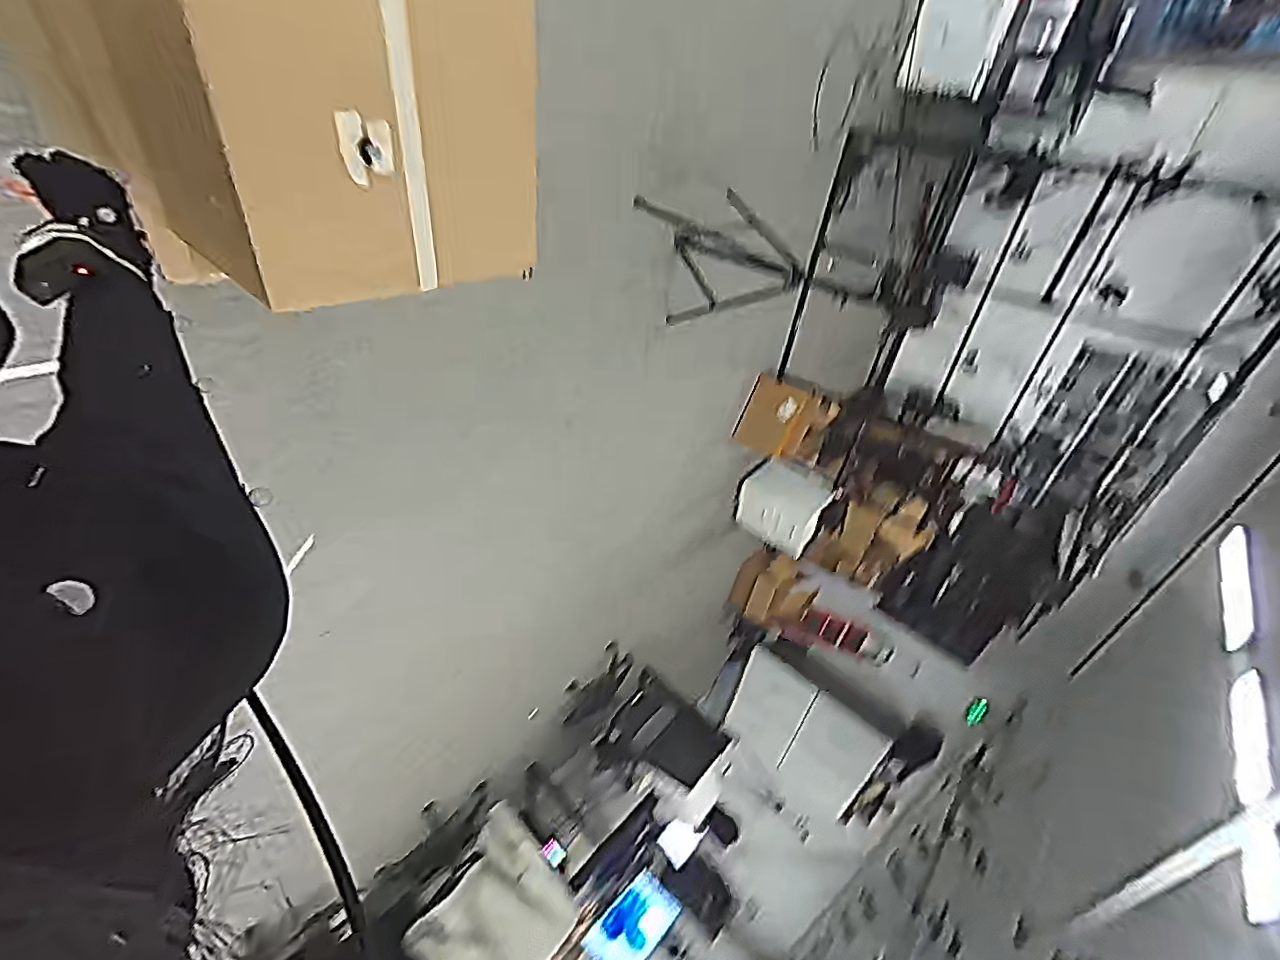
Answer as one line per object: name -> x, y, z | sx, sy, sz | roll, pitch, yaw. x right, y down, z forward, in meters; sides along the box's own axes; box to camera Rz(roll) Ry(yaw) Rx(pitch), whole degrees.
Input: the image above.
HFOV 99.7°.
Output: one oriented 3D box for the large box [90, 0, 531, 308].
large box -> -0.332, -0.447, 0.567 | 0.320, 0.320, 0.408 | -28, 139, -40
